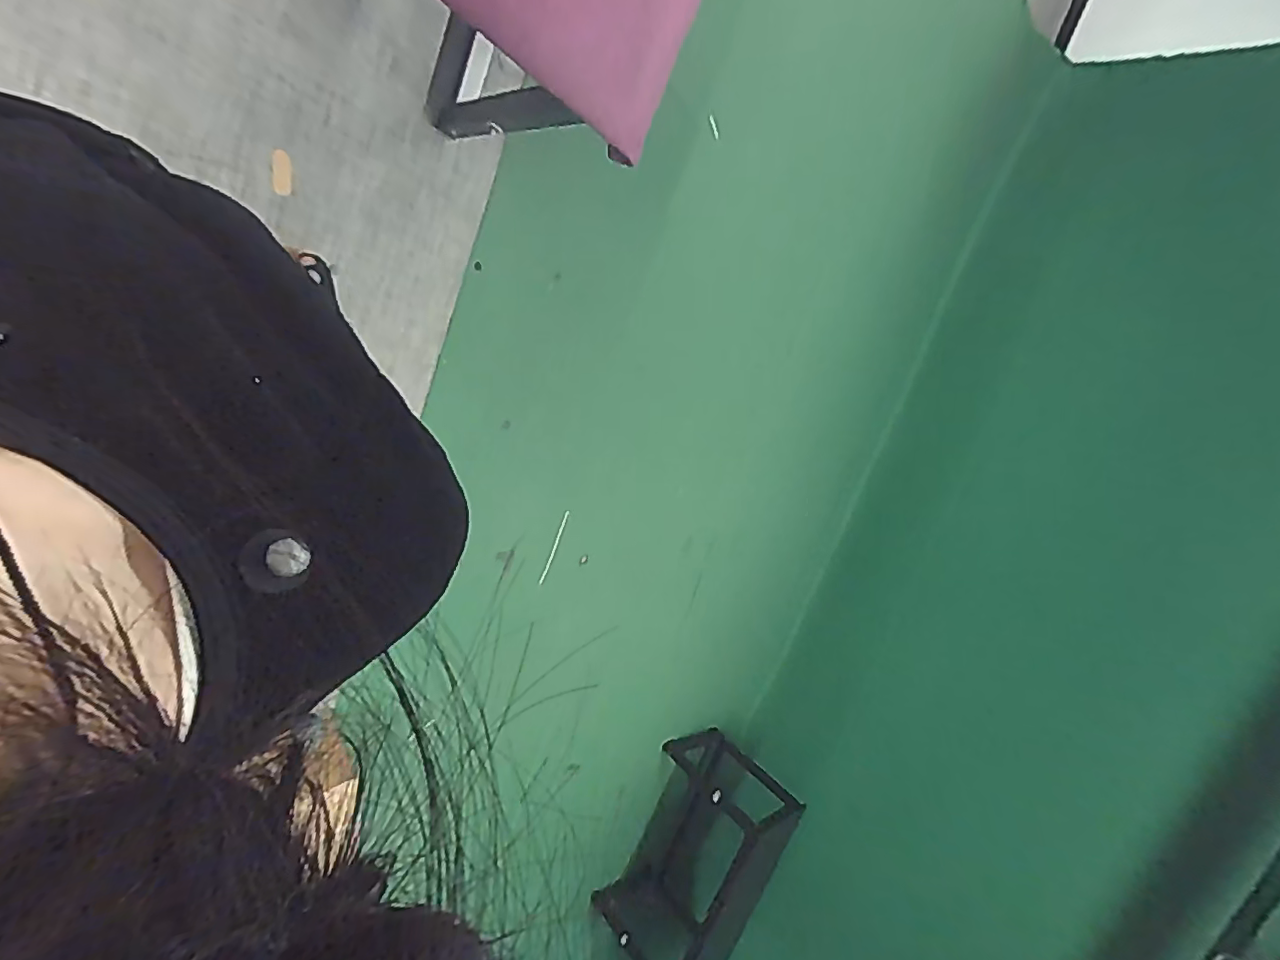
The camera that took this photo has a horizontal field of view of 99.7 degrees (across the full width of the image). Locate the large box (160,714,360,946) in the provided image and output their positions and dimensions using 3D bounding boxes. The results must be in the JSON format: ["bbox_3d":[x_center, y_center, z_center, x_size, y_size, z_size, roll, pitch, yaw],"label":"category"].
[{"bbox_3d":[-1.056,0.946,1.523,0.408,0.320,0.320,-9,118,-43],"label":"large box"}]
